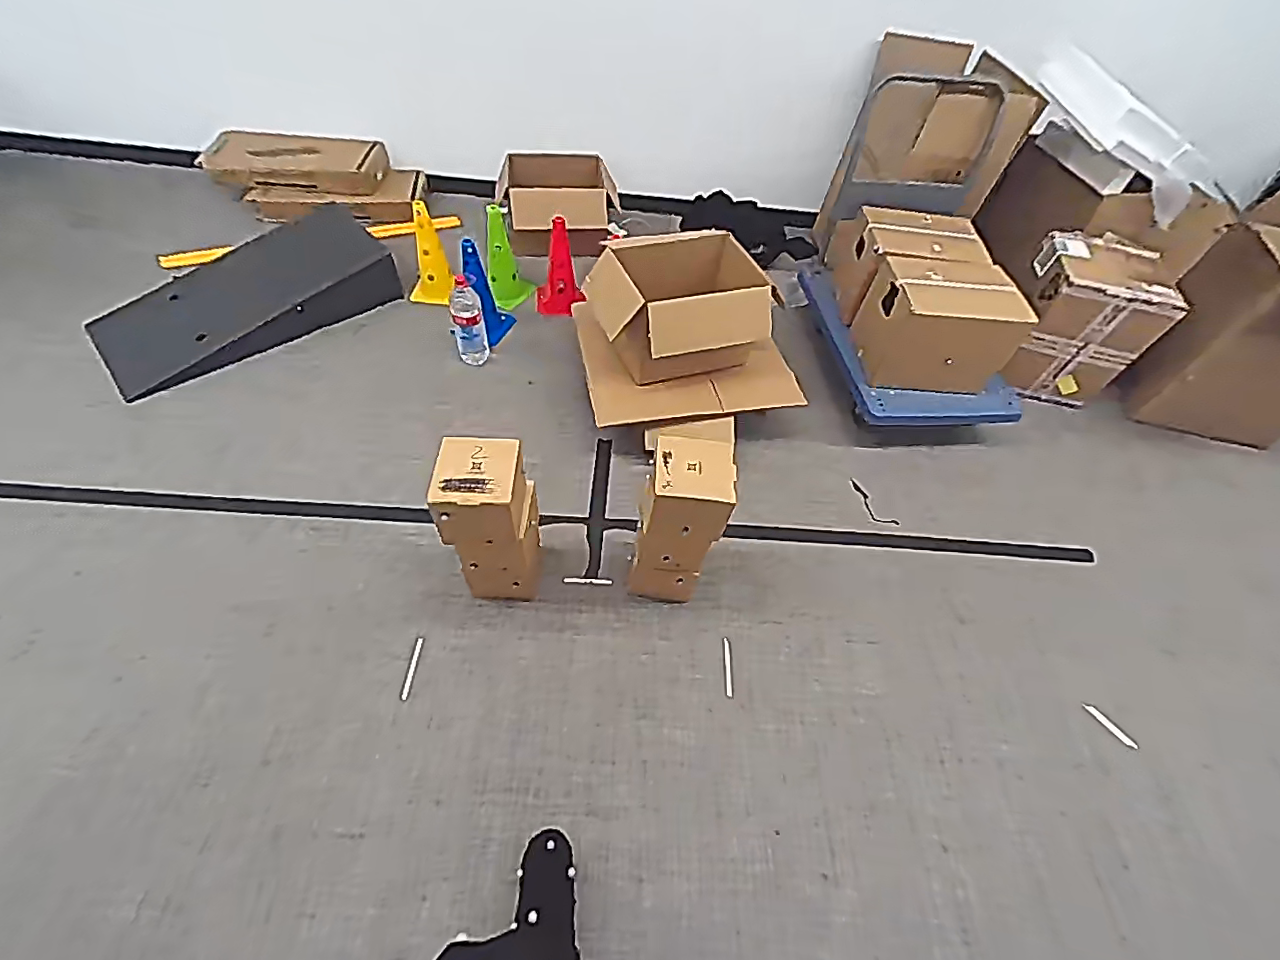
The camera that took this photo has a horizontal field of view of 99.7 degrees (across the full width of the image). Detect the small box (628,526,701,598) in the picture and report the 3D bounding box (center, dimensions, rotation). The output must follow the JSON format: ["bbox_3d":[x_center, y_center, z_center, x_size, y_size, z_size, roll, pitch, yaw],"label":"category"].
[{"bbox_3d":[0.070,0.213,1.497,0.179,0.176,0.168,8,53,-1],"label":"small box"}]

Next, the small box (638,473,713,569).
[{"bbox_3d":[0.085,0.107,1.374,0.168,0.176,0.179,5,54,-4],"label":"small box"}]

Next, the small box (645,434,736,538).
[{"bbox_3d":[0.112,0.019,1.238,0.179,0.176,0.168,7,54,-4],"label":"small box"}]

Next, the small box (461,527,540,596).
[{"bbox_3d":[-0.366,0.204,1.455,0.179,0.176,0.168,2,53,-4],"label":"small box"}]

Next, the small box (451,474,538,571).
[{"bbox_3d":[-0.345,0.107,1.323,0.168,0.176,0.179,5,52,-3],"label":"small box"}]
